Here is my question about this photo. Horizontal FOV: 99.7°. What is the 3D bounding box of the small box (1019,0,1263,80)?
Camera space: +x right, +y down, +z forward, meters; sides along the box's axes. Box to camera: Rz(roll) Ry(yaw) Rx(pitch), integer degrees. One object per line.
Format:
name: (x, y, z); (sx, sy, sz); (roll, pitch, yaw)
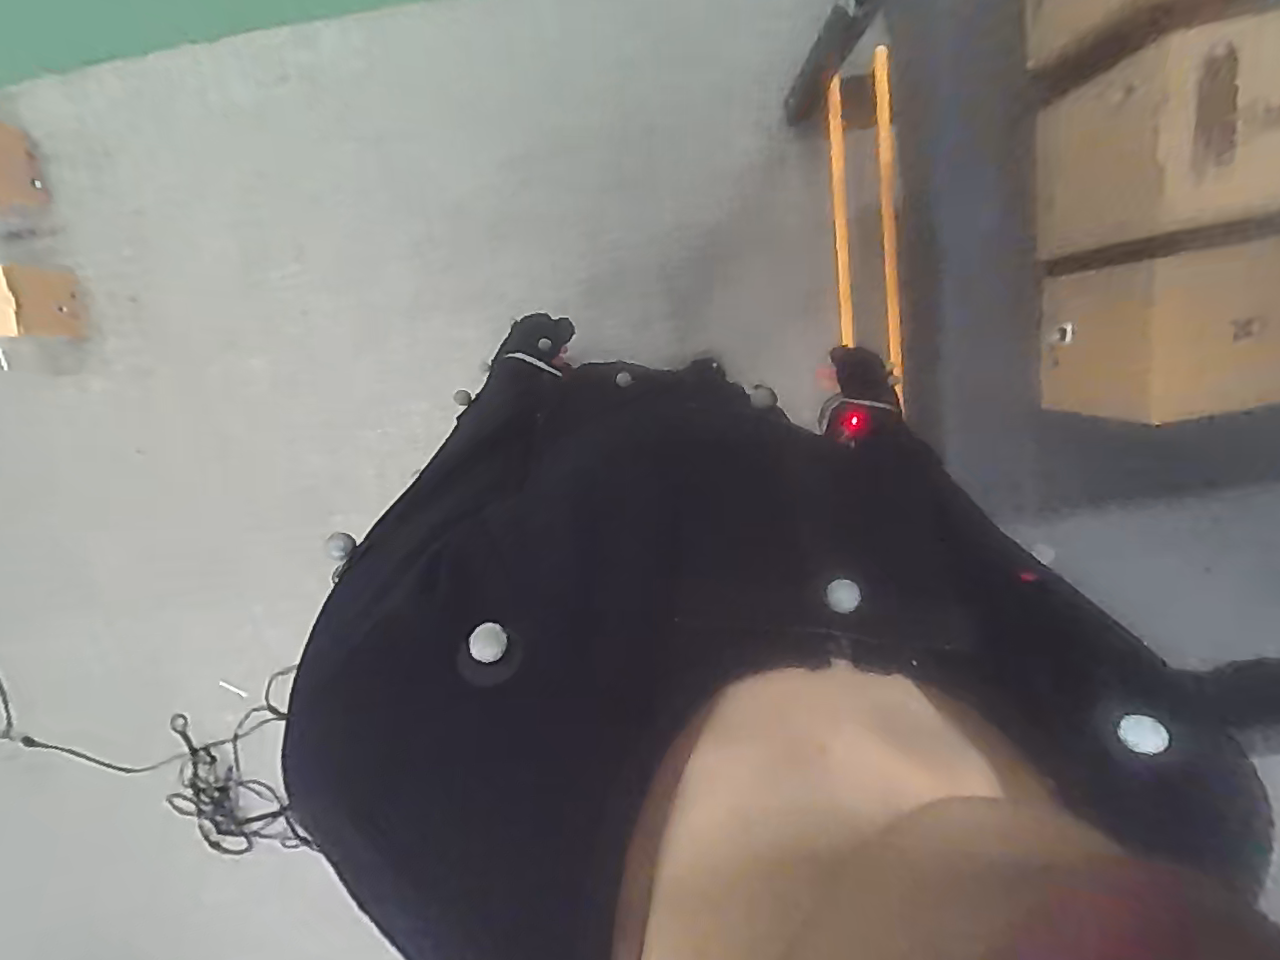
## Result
small box: (0.513, -0.533, 0.527); (0.179, 0.176, 0.168); (-10, 103, 3)

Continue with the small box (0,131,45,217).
small box: (-1.563, -0.726, 1.261); (0.179, 0.176, 0.168); (-6, 102, 3)

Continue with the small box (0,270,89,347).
small box: (-1.538, -0.416, 1.331); (0.179, 0.176, 0.168); (-2, 103, 1)
